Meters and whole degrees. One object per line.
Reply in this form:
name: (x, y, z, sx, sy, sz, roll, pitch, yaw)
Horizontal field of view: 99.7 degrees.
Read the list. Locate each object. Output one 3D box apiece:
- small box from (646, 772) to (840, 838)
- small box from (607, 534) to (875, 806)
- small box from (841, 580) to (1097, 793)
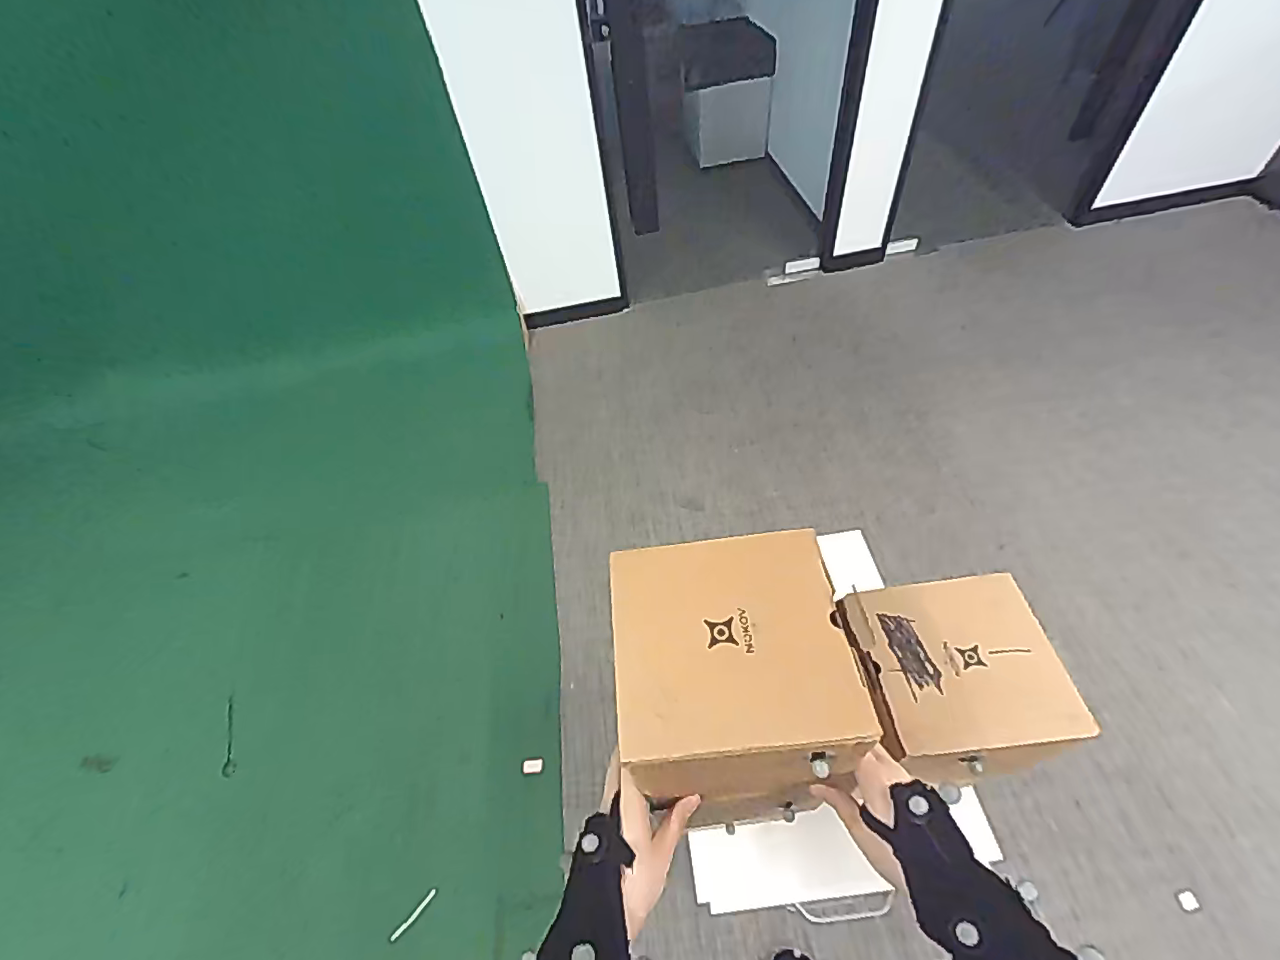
small box: (0.091, 0.275, 0.589, 0.179, 0.176, 0.168, -9, 50, 0)
small box: (0.072, 0.169, 0.466, 0.179, 0.176, 0.168, -7, 50, 1)
small box: (0.323, 0.230, 0.590, 0.179, 0.176, 0.168, -8, 51, 2)
